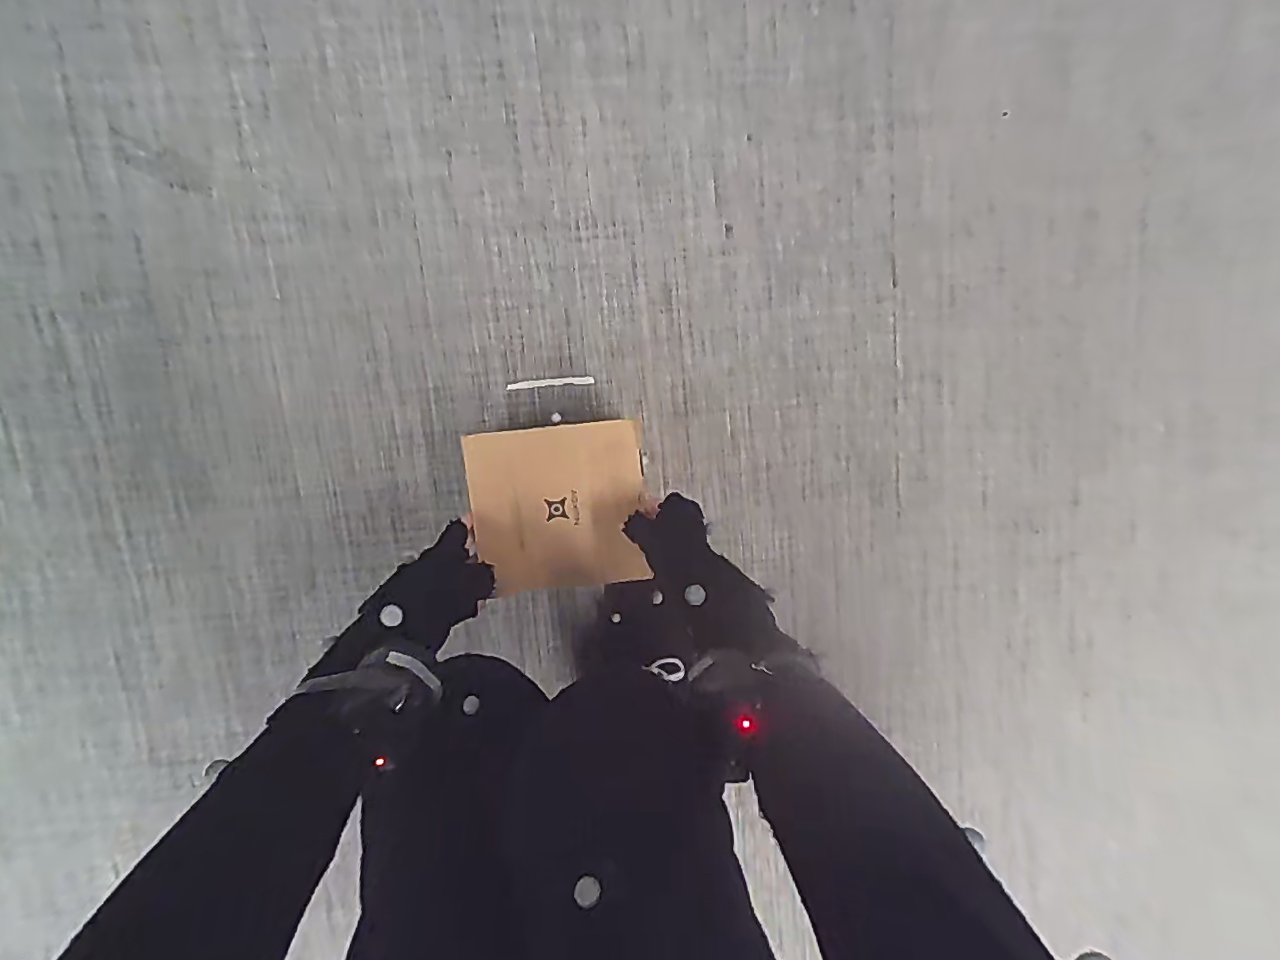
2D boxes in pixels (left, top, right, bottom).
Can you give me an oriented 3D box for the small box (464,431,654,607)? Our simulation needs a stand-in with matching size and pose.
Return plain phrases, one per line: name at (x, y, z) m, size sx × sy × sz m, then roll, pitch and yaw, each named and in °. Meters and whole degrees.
small box at (-0.087, 0.032, 0.623) m, size 0.179 × 0.176 × 0.168 m, roll -7°, pitch 94°, yaw -4°
